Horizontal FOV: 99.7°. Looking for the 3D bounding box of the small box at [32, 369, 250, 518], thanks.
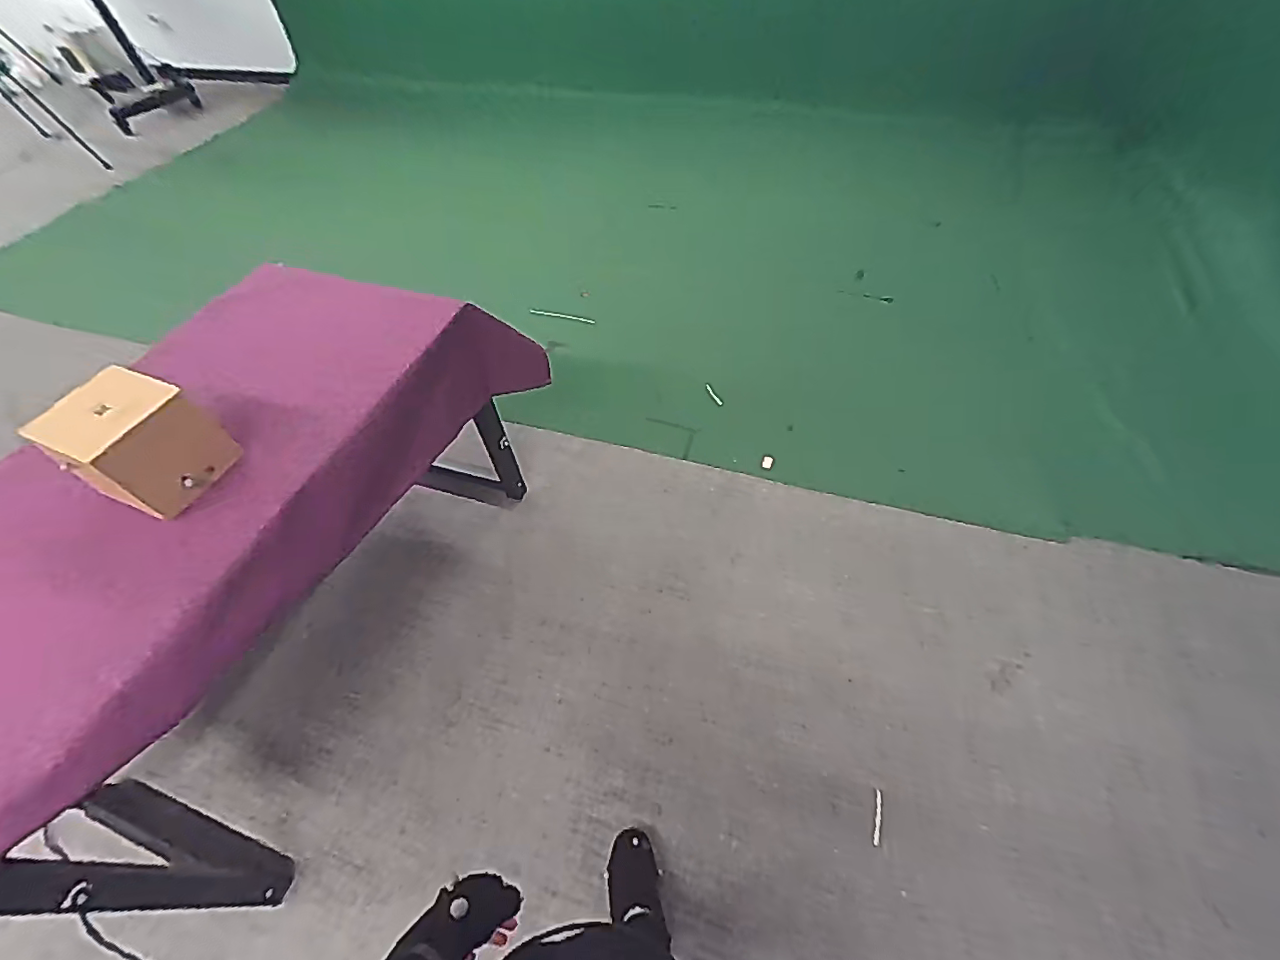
[{"bbox_3d":[-0.832,-0.058,0.921,0.179,0.176,0.168,18,56,16],"label":"small box"}]
